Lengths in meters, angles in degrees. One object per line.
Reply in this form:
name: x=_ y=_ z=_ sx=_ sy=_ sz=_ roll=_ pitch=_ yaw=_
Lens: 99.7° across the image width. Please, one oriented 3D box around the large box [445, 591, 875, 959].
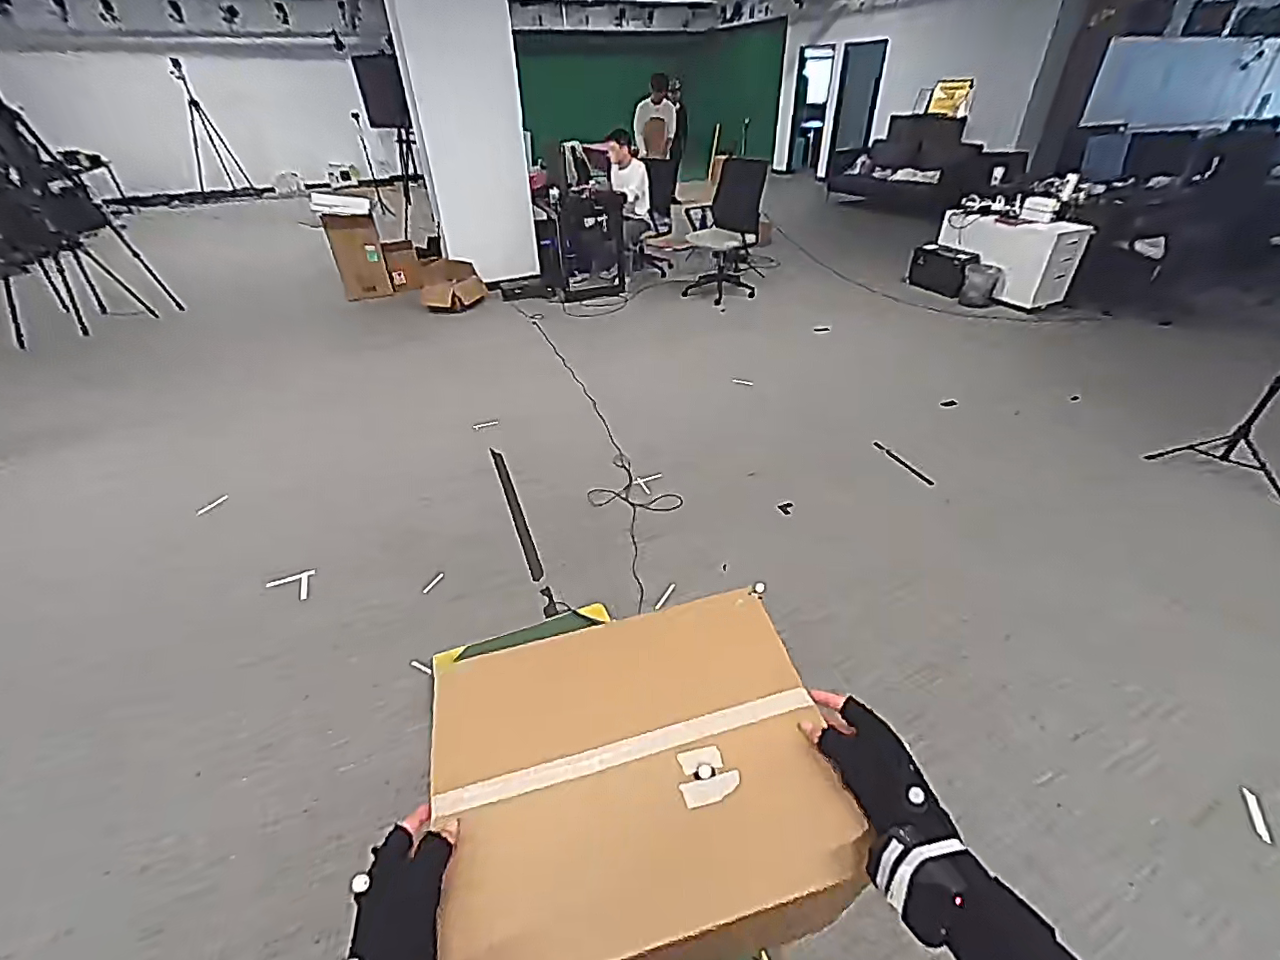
large box: x=0.000 y=0.398 z=0.678 sx=0.408 sy=0.320 sz=0.320 roll=-12 pitch=43 yaw=-9
